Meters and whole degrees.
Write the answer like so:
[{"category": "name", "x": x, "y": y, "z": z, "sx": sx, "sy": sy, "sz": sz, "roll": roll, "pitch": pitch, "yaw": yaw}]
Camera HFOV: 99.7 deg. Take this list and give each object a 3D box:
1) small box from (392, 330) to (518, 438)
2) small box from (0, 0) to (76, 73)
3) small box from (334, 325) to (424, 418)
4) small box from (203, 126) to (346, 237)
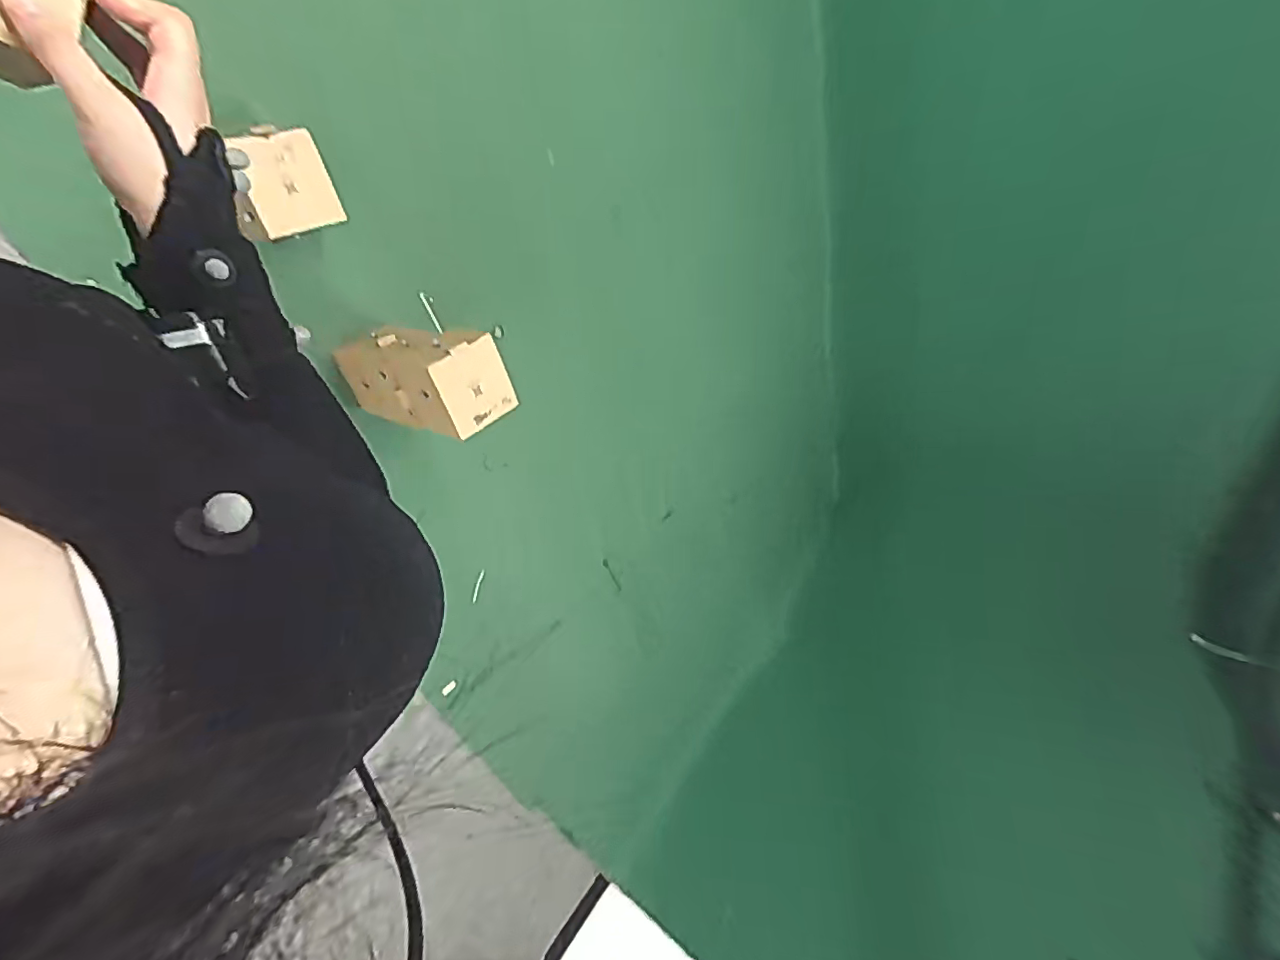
[{"category": "small box", "x": -0.407, "y": -0.217, "z": 1.188, "sx": 0.168, "sy": 0.176, "sz": 0.179, "roll": -42, "pitch": 131, "yaw": -33}, {"category": "small box", "x": -0.393, "y": -0.328, "z": 0.250, "sx": 0.179, "sy": 0.176, "sz": 0.168, "roll": 6, "pitch": 105, "yaw": -56}, {"category": "small box", "x": -0.649, "y": -0.286, "z": 1.399, "sx": 0.168, "sy": 0.176, "sz": 0.179, "roll": -40, "pitch": 131, "yaw": -33}, {"category": "small box", "x": -0.762, "y": -0.620, "z": 1.132, "sx": 0.168, "sy": 0.176, "sz": 0.179, "roll": -39, "pitch": 130, "yaw": -35}]
